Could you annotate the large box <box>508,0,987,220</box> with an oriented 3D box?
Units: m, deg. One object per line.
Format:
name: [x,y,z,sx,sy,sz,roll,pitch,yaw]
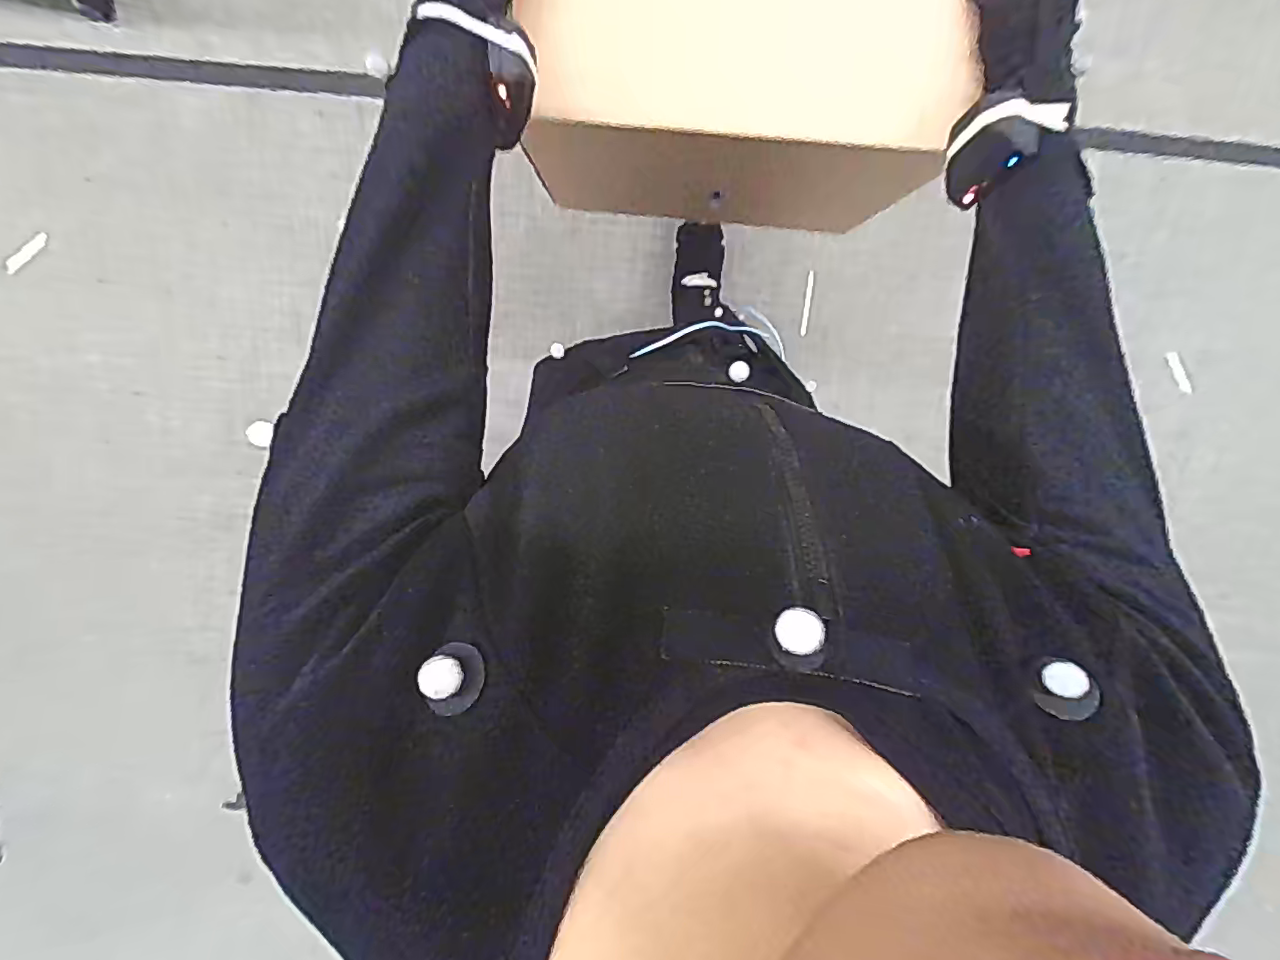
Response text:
large box: [0.097,-0.489,0.580,0.408,0.320,0.320,5,102,0]
